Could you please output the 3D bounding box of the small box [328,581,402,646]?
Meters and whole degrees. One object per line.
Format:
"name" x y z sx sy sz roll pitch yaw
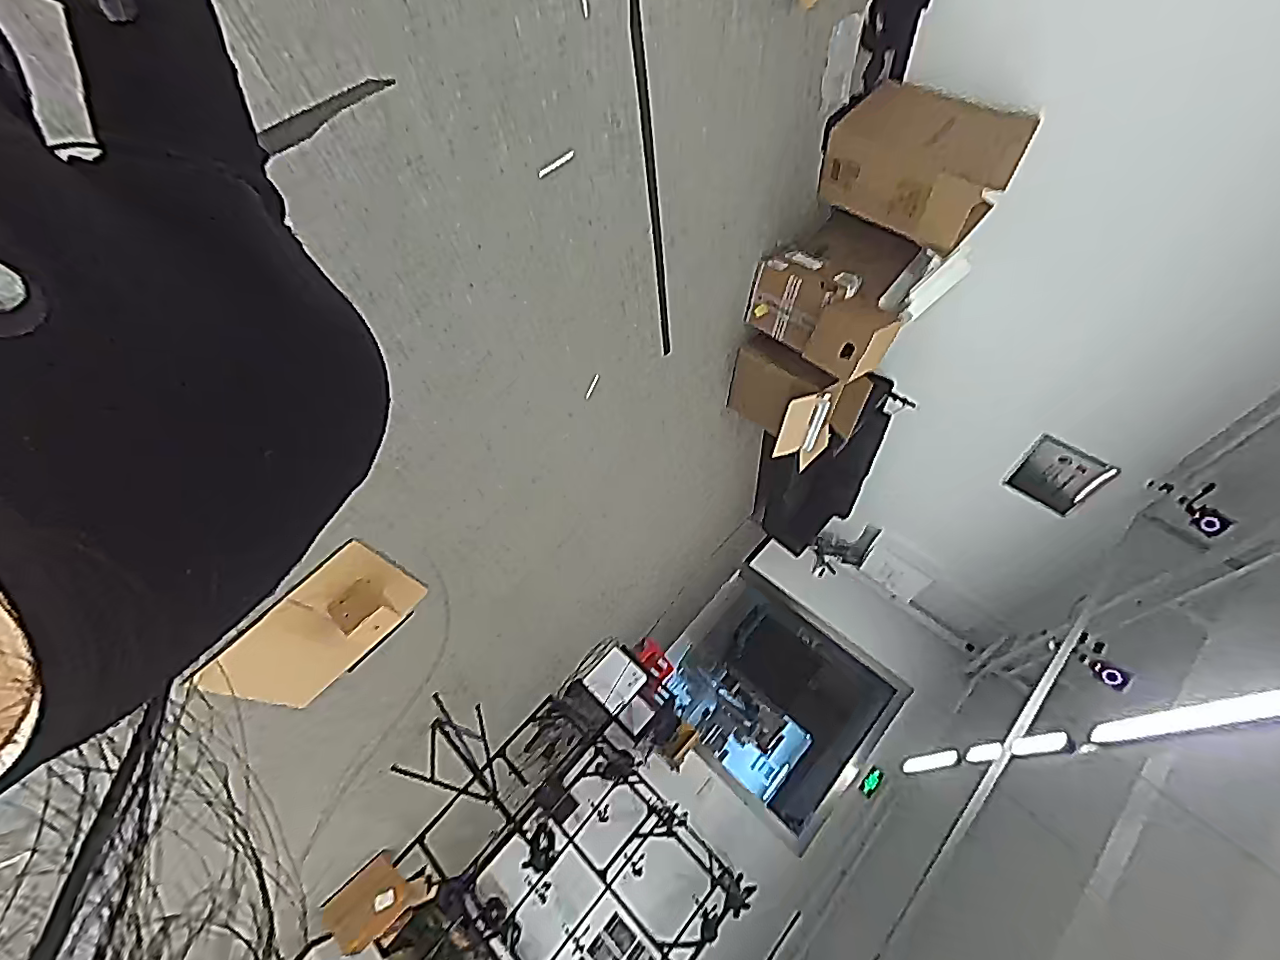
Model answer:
"small box" -1.093 0.525 2.146 0.168 0.176 0.179 -43 154 -17
